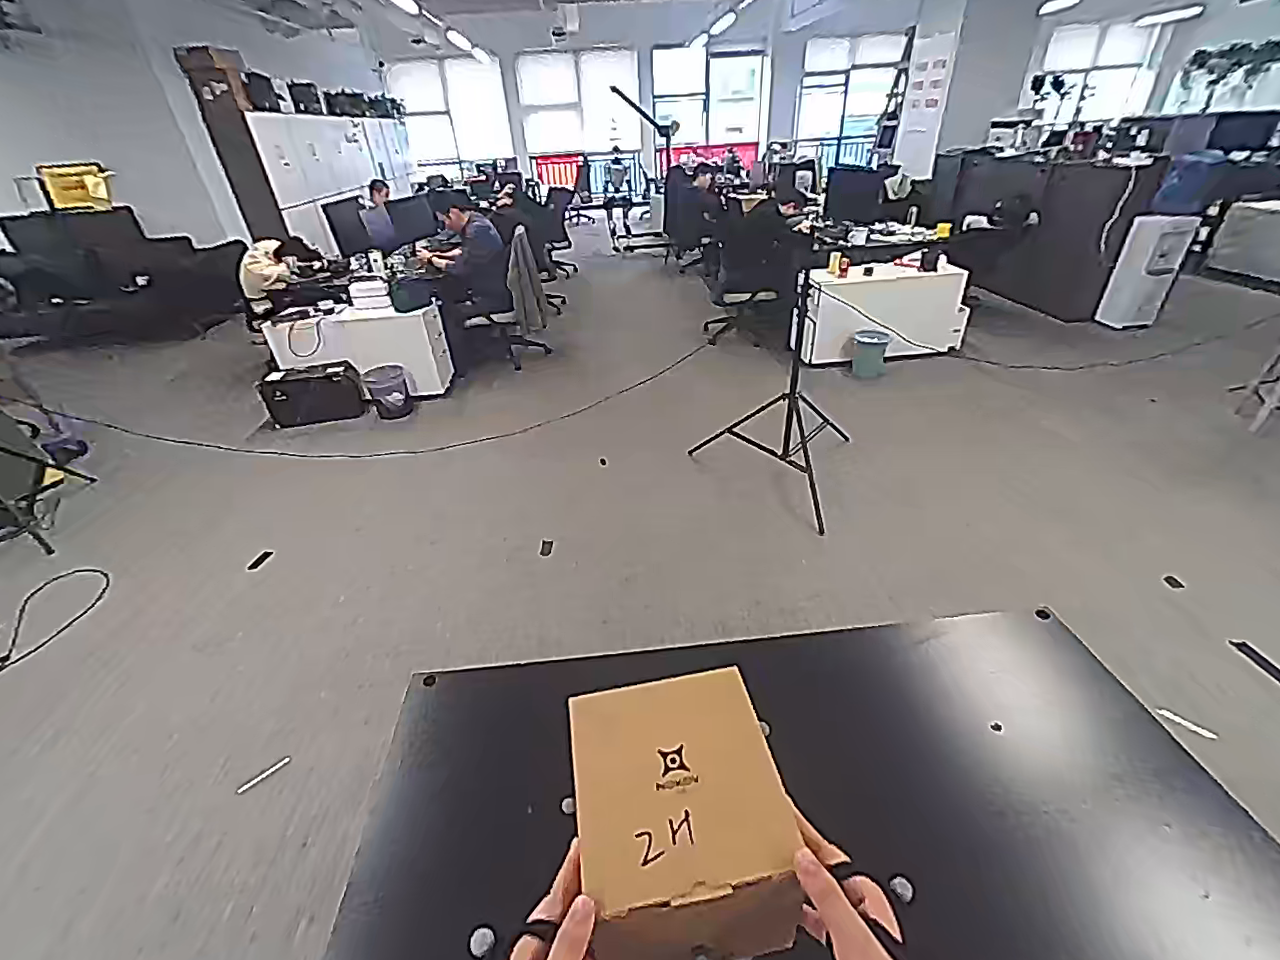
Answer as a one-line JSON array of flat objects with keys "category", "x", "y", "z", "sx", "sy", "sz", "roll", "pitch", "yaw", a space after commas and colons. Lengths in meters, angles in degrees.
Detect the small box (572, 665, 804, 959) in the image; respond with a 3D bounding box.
[{"category": "small box", "x": 0.032, "y": 0.305, "z": 0.496, "sx": 0.168, "sy": 0.176, "sz": 0.179, "roll": -9, "pitch": 34, "yaw": -5}]
